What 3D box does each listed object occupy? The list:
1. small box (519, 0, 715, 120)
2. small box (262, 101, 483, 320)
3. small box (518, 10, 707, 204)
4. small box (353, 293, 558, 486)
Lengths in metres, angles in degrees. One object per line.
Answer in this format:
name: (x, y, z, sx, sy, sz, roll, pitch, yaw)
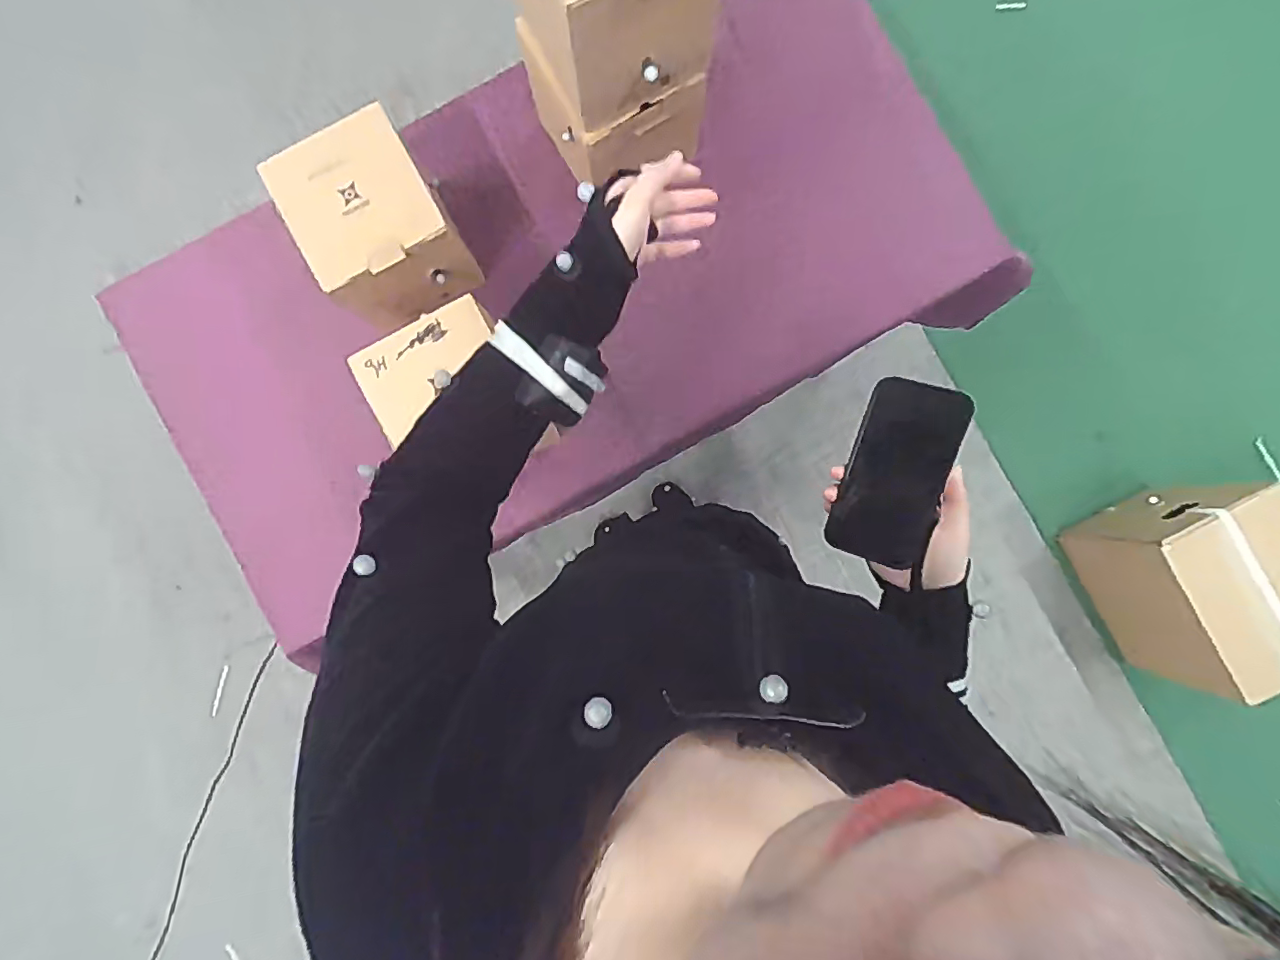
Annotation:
small box: (-0.034, -0.525, 0.548, 0.168, 0.176, 0.179, -29, 90, 1)
small box: (-0.334, -0.333, 0.715, 0.168, 0.176, 0.179, -29, 88, -1)
small box: (-0.033, -0.513, 0.713, 0.168, 0.176, 0.179, -31, 89, 1)
small box: (-0.224, -0.106, 0.708, 0.168, 0.176, 0.179, -28, 89, 0)
